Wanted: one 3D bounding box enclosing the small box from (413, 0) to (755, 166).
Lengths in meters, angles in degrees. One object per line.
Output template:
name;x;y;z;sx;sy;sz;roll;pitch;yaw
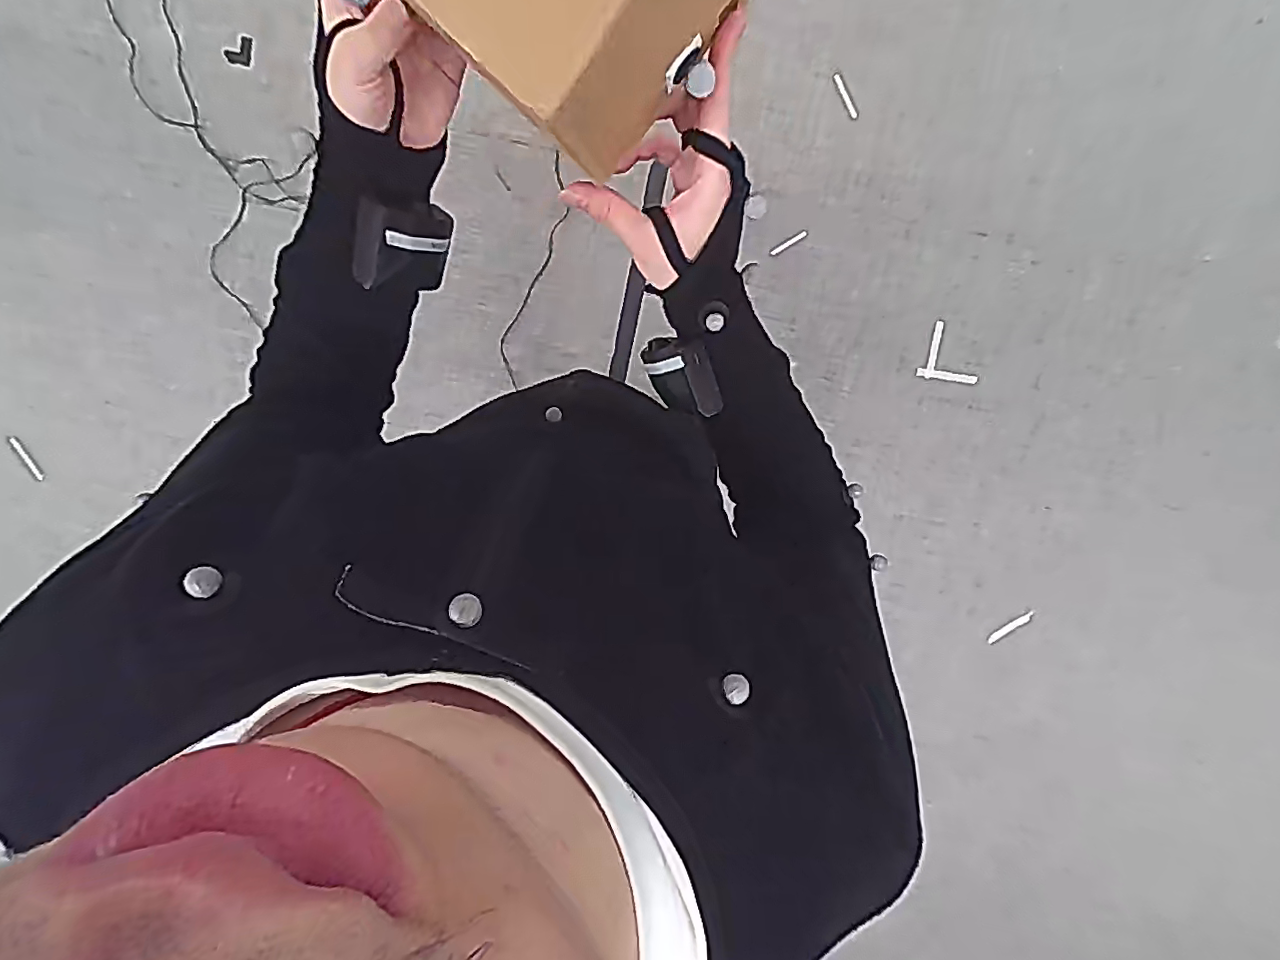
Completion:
small box;-0.033;-0.260;0.215;0.179;0.176;0.168;38;109;-12
